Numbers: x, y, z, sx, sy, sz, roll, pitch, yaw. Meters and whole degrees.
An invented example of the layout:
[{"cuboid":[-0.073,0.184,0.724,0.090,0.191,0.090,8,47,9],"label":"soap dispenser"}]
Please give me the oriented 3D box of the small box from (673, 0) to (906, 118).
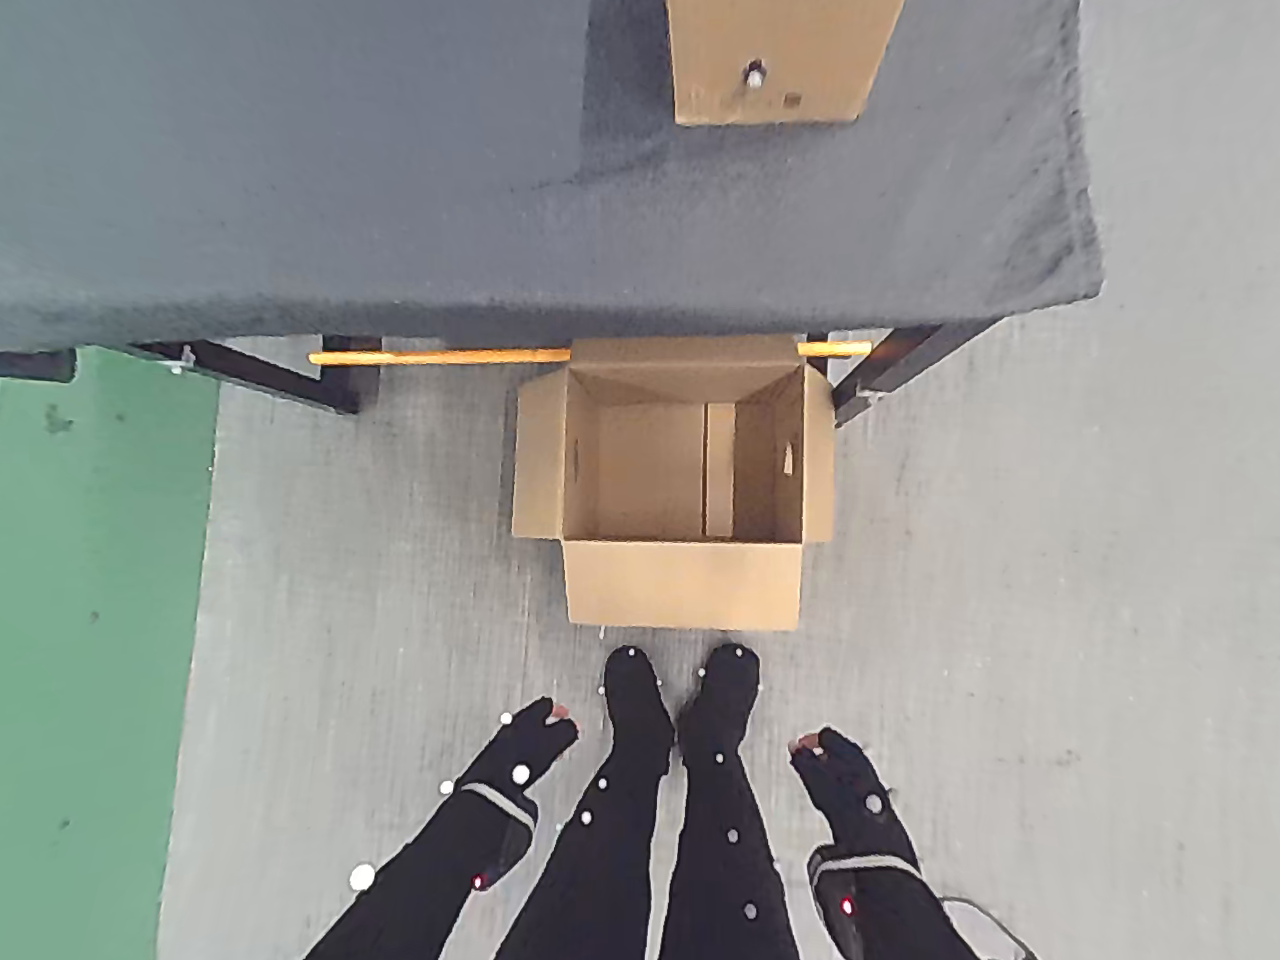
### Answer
[{"cuboid":[0.112,-0.419,0.411,0.168,0.176,0.179,3,87,7],"label":"small box"}]
